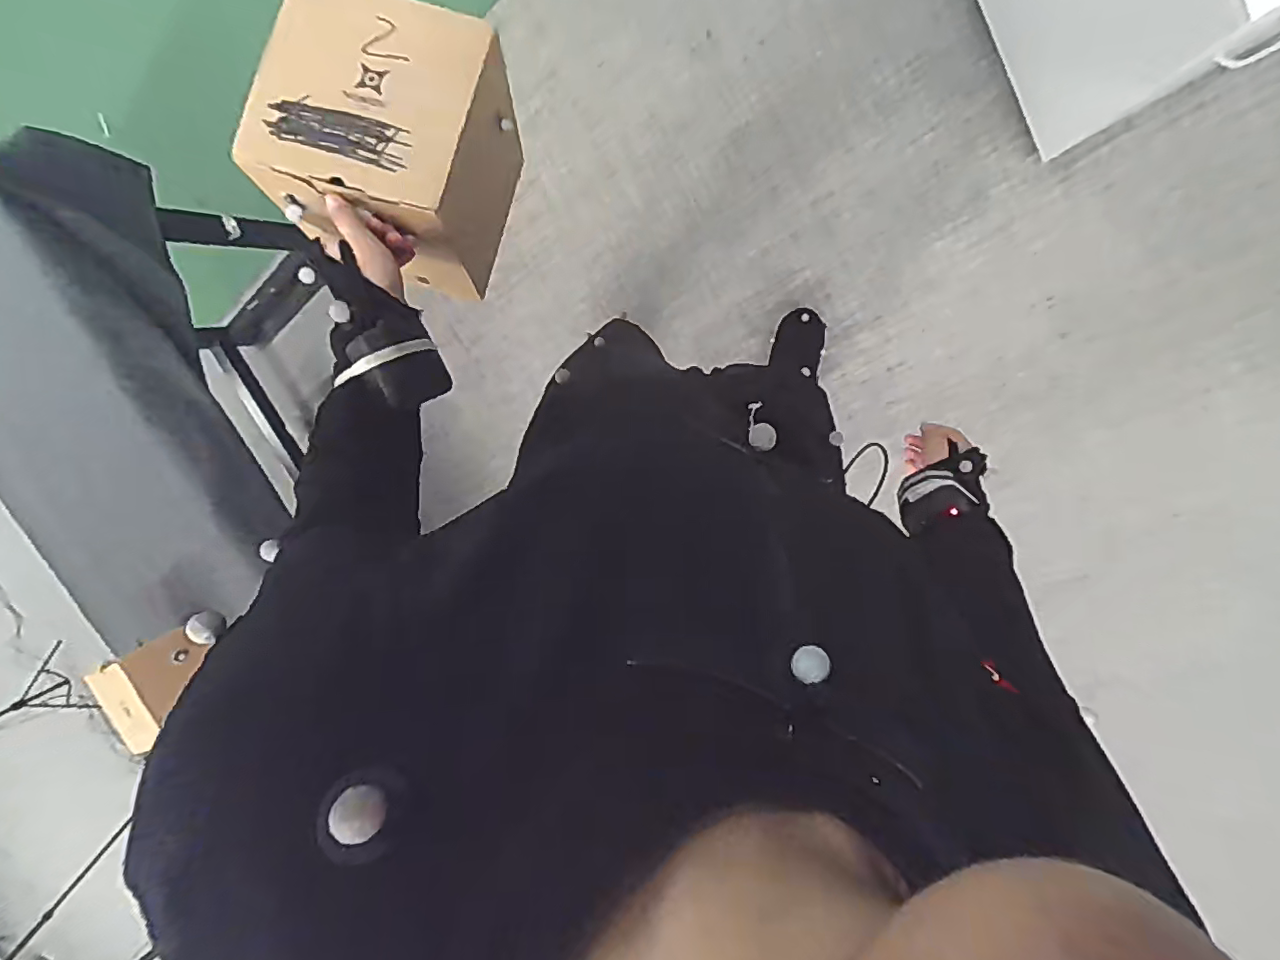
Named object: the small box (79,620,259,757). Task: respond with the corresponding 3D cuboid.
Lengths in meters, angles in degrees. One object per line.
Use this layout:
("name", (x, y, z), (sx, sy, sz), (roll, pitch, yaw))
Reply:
("small box", (-0.881, 0.385, 1.023), (0.168, 0.176, 0.179), (-21, 100, 27))
